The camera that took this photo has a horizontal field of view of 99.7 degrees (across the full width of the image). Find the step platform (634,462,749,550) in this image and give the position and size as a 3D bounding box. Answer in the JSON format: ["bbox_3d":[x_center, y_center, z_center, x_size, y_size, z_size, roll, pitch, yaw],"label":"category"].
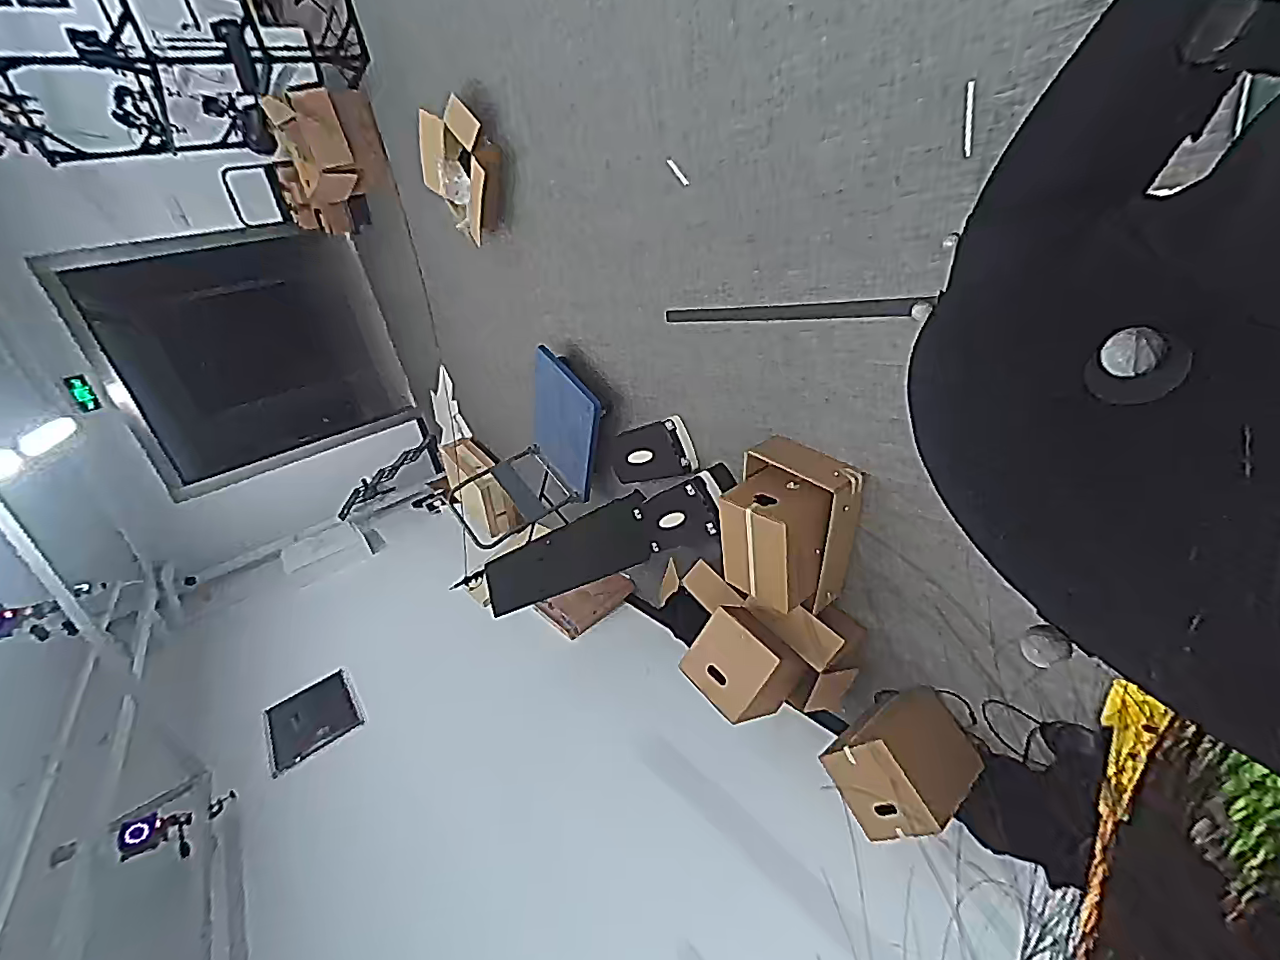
[{"bbox_3d":[0.226,0.149,2.673,0.286,0.204,0.684,62,149,2],"label":"step platform"}]
